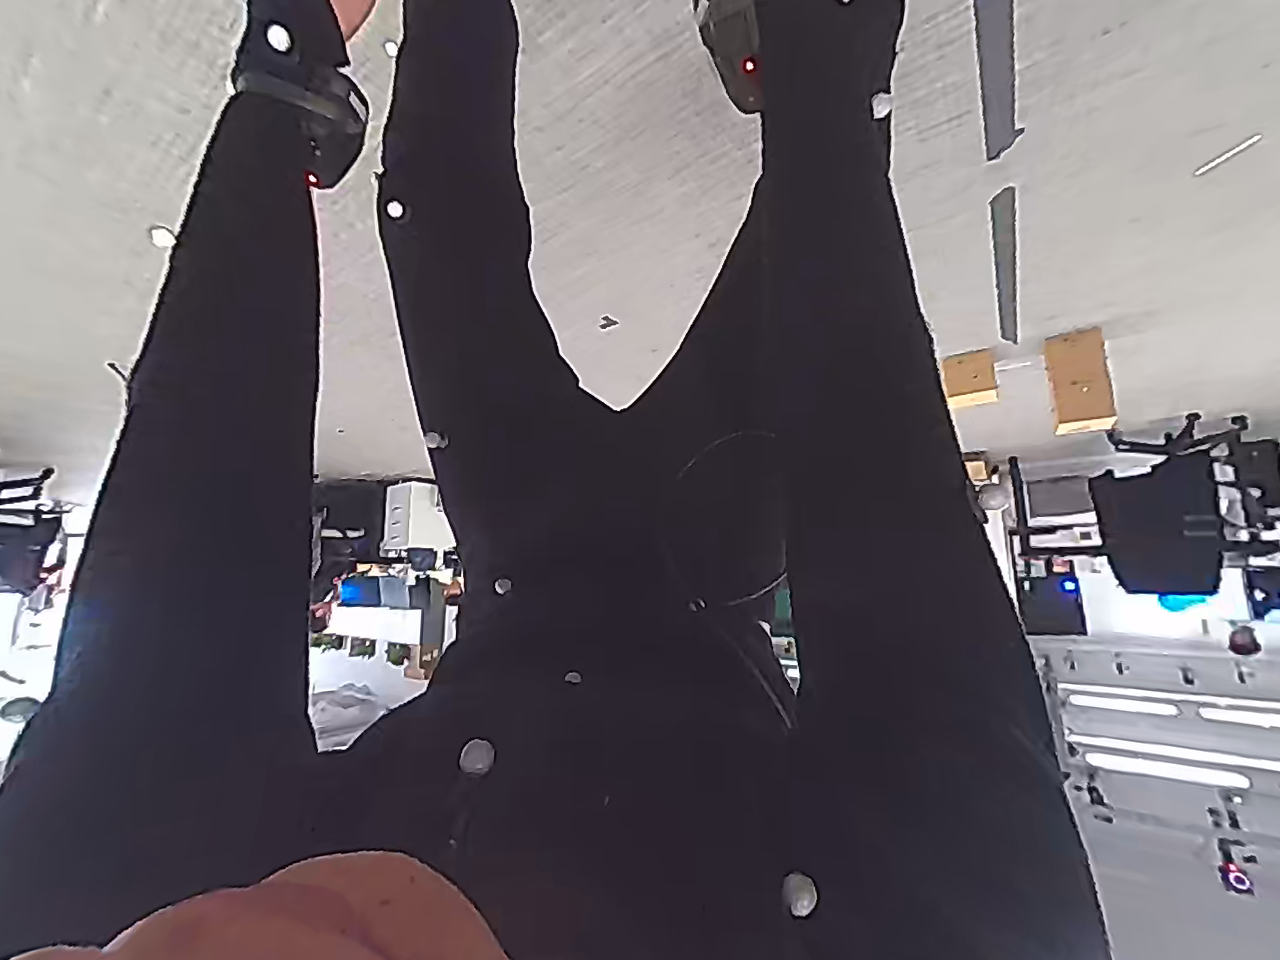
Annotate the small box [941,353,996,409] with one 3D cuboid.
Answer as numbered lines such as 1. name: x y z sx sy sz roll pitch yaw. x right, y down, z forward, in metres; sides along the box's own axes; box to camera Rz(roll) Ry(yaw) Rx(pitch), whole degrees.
1. small box: 1.339 -0.405 2.205 0.168 0.176 0.179 -8 168 37

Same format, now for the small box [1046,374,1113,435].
1. small box: 1.614 -0.277 1.993 0.168 0.176 0.179 -8 167 33
